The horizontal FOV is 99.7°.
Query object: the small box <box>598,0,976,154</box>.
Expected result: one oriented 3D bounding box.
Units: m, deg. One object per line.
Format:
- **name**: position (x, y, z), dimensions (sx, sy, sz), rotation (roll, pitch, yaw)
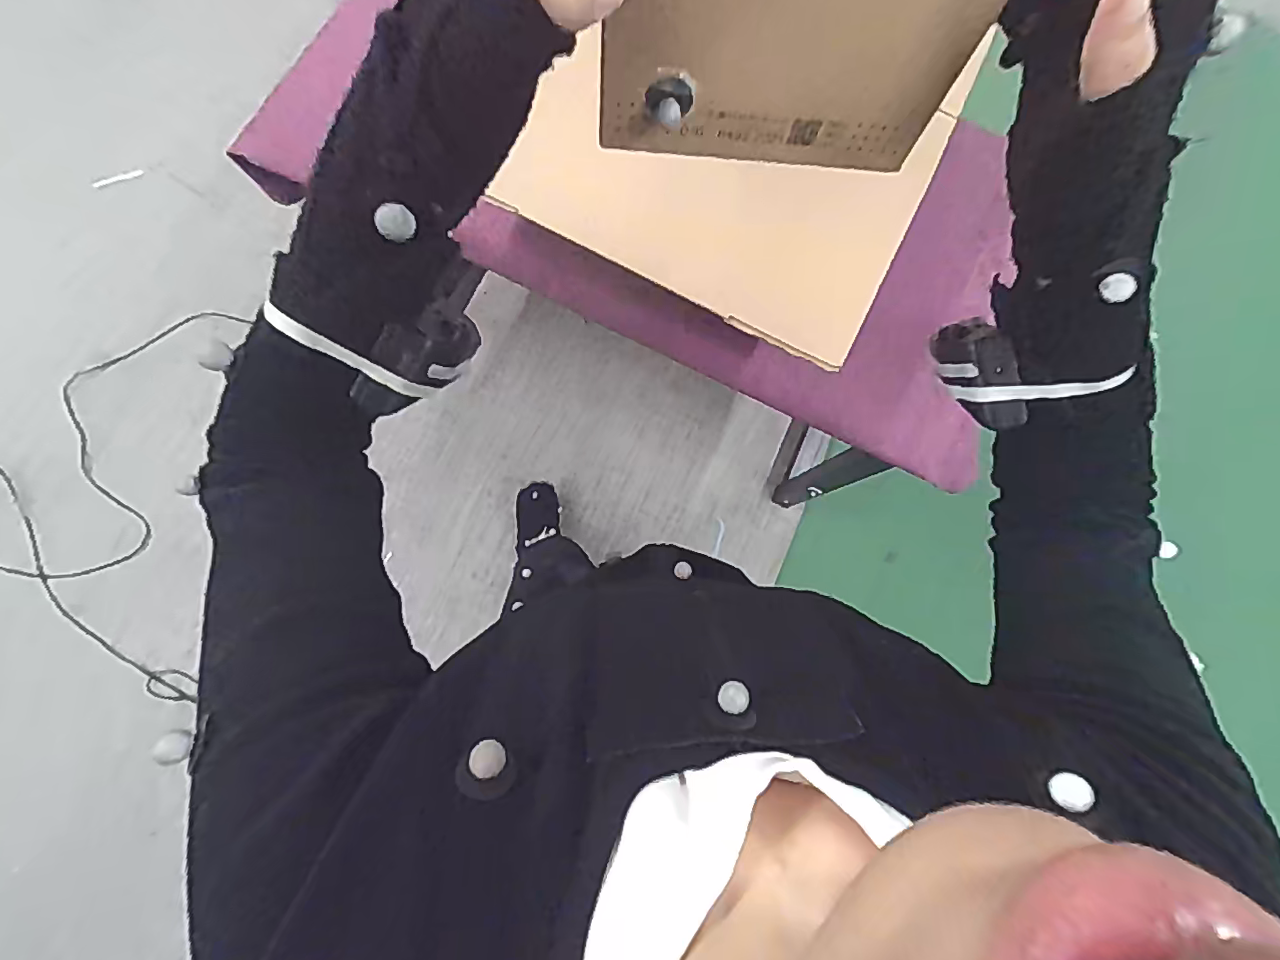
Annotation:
- **small box**: position (0.066, -0.282, 0.240), dimensions (0.168, 0.176, 0.179), rotation (2, 72, -5)
